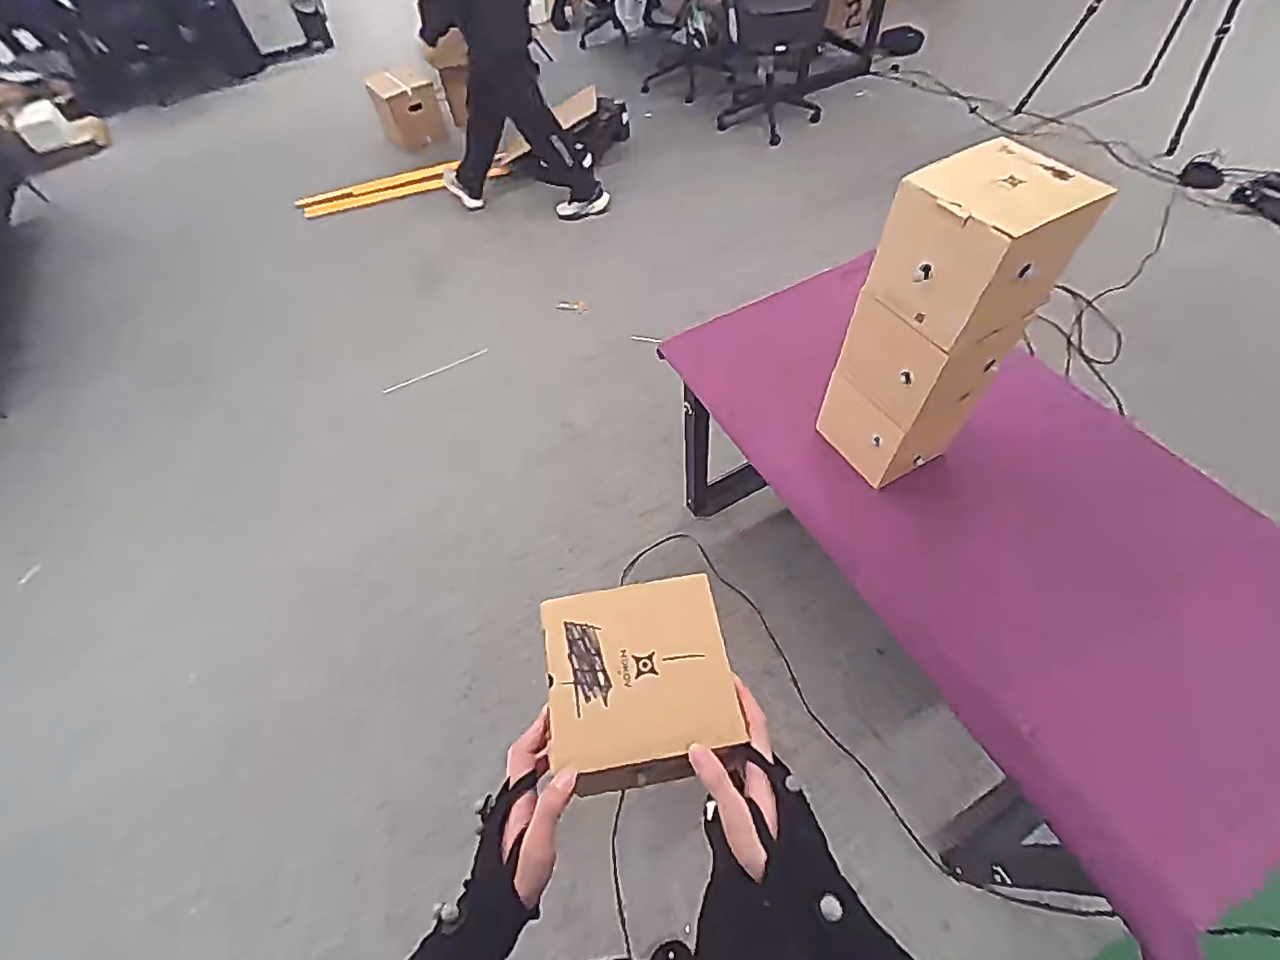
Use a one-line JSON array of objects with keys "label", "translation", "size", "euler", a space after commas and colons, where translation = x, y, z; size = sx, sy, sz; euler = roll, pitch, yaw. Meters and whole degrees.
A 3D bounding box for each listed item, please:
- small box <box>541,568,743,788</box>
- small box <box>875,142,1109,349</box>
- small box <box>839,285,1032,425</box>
[{"label": "small box", "translation": [0.000, 0.217, 0.578], "size": [0.179, 0.176, 0.168], "euler": [-9, 54, -3]}, {"label": "small box", "translation": [0.438, -0.304, 0.713], "size": [0.179, 0.176, 0.168], "euler": [-27, 58, -13]}, {"label": "small box", "translation": [0.445, -0.209, 0.846], "size": [0.168, 0.176, 0.179], "euler": [-26, 57, -13]}]
